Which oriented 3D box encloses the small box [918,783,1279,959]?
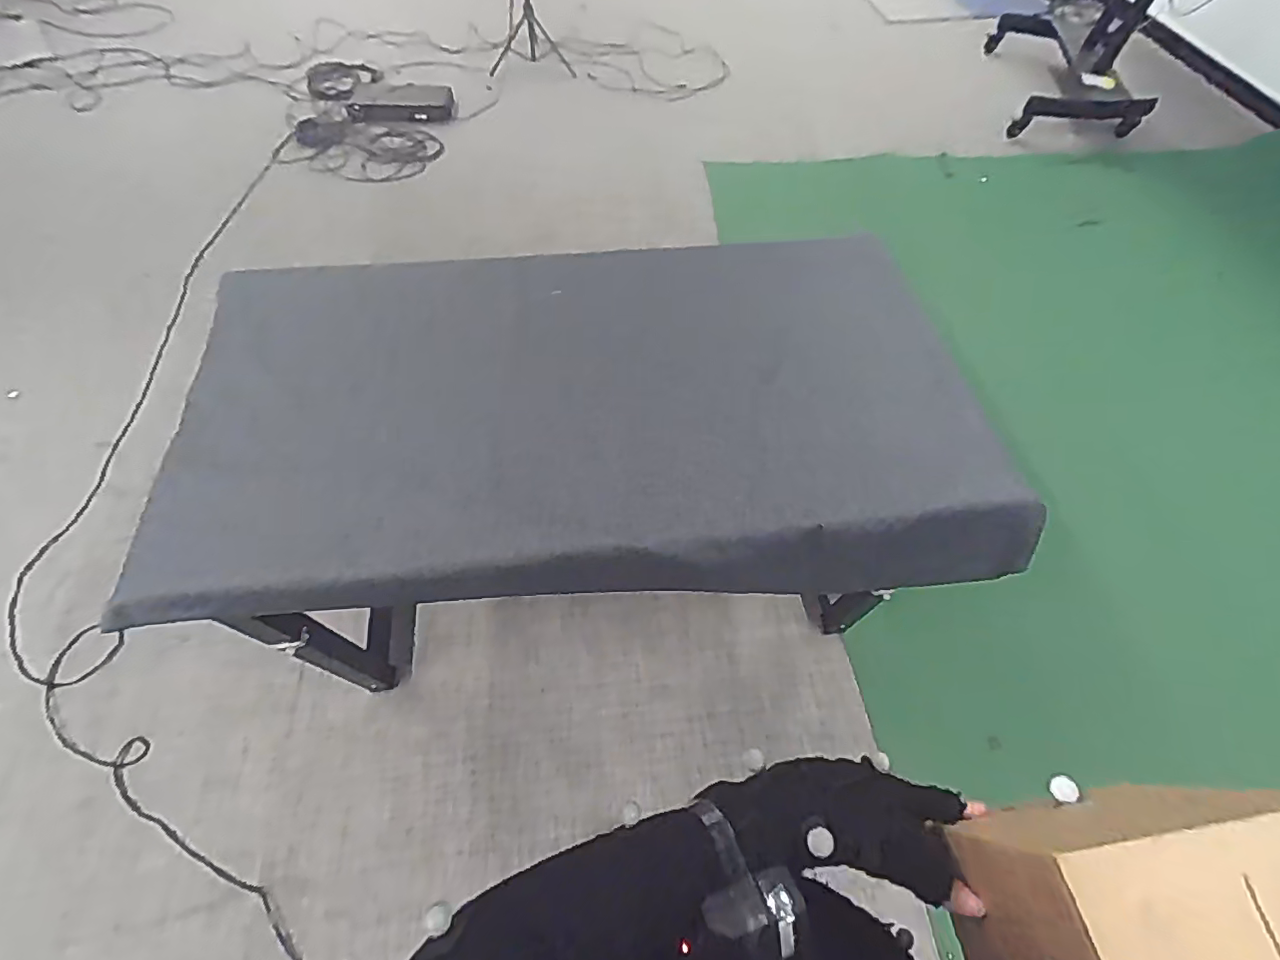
[{"bbox_3d":[0.299,0.288,0.314,0.168,0.176,0.179,-9,62,-2],"label":"small box"}]
